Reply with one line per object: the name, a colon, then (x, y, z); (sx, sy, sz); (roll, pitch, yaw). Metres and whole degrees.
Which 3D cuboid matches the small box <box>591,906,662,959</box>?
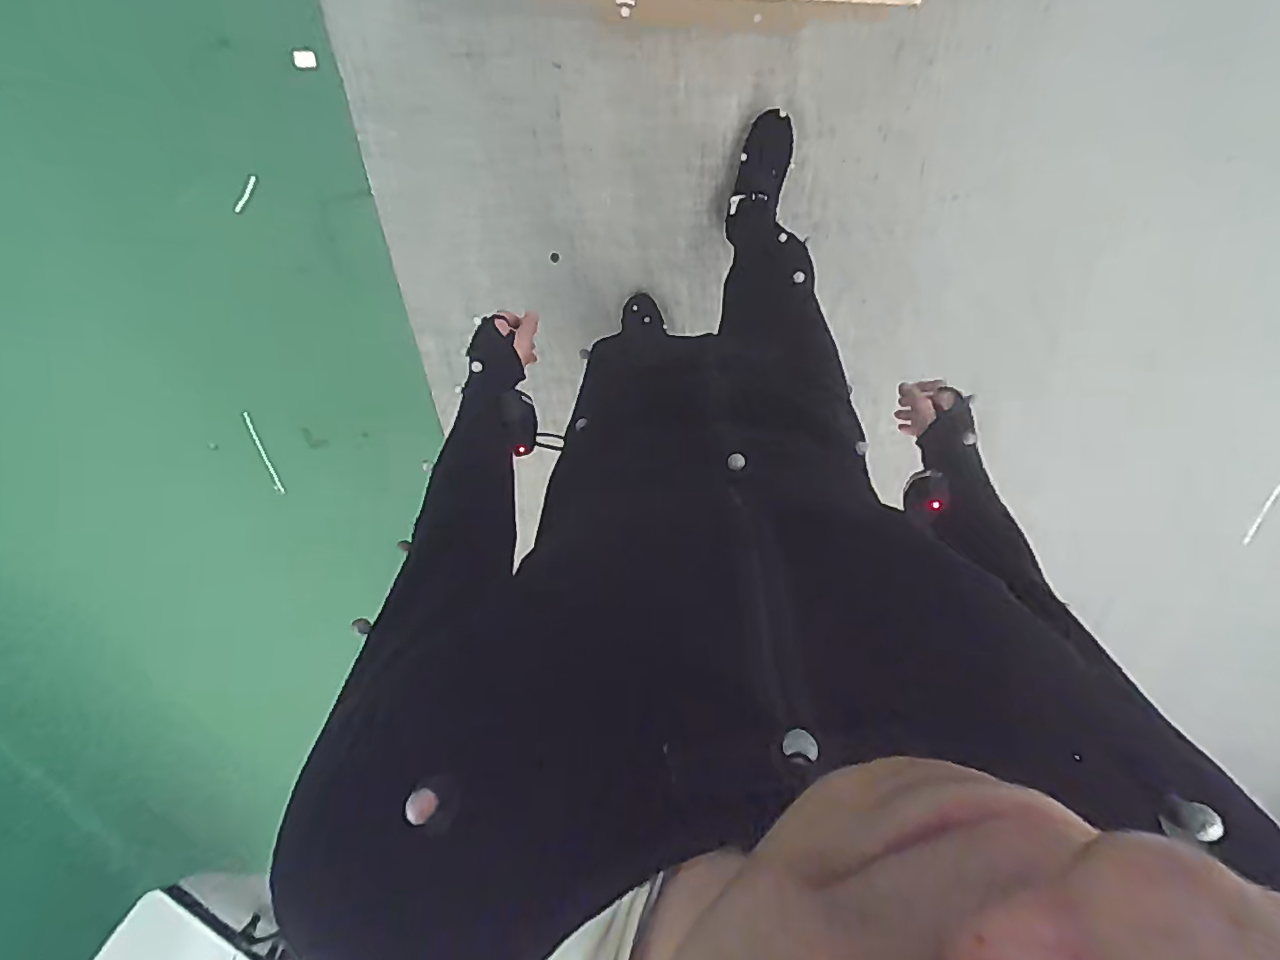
small box: (-0.034, 1.218, 1.375); (0.168, 0.176, 0.179); (-1, 121, 7)
